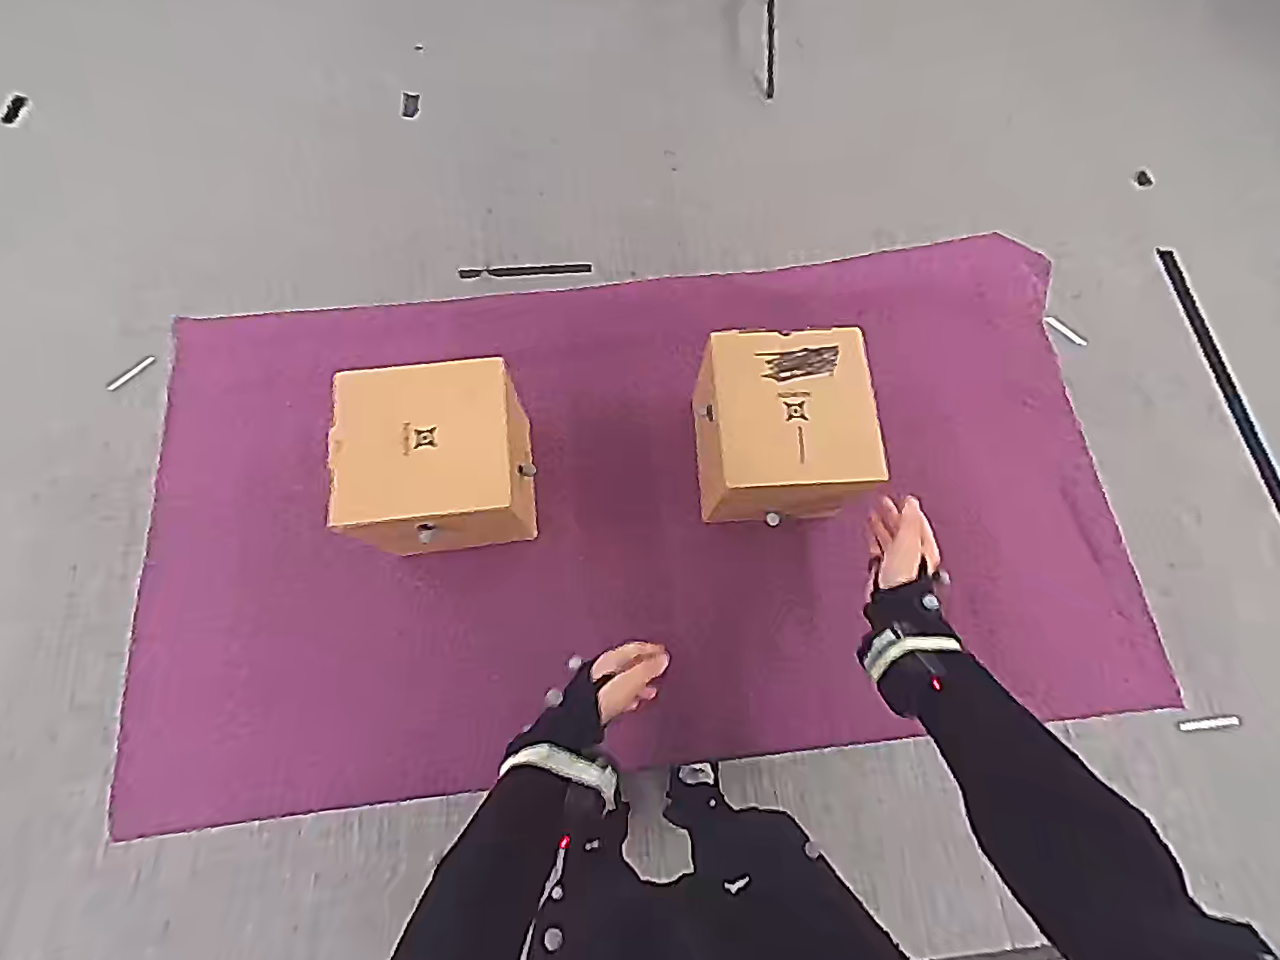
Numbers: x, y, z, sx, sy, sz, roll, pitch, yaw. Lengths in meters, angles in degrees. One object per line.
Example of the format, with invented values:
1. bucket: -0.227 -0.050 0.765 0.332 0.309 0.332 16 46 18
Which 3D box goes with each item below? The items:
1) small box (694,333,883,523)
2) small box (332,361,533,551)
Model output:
1. small box: 0.157 -0.053 0.638 0.168 0.176 0.179 -2 74 -1
2. small box: -0.221 -0.018 0.621 0.179 0.176 0.168 -6 74 -3
